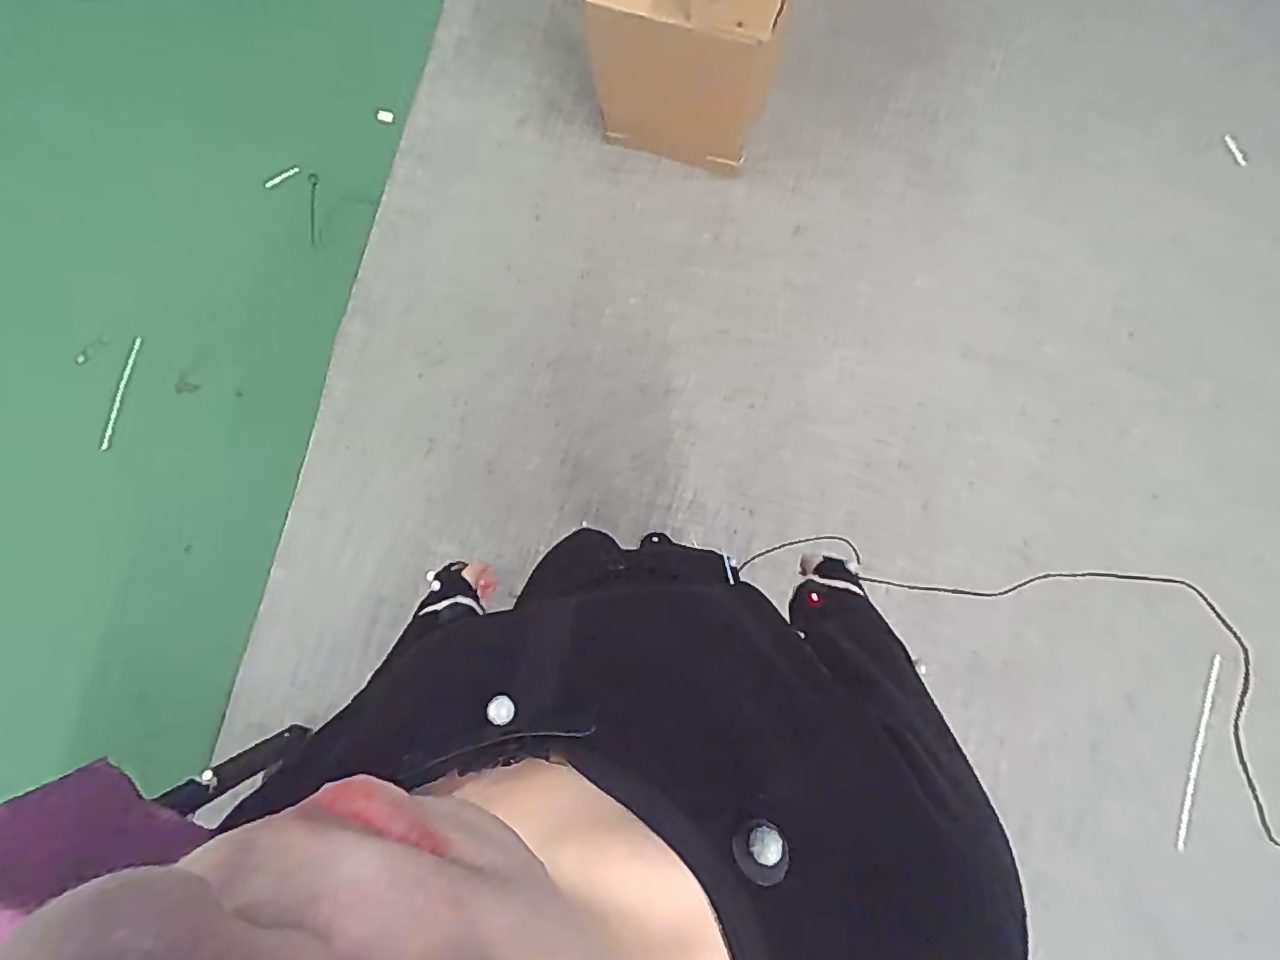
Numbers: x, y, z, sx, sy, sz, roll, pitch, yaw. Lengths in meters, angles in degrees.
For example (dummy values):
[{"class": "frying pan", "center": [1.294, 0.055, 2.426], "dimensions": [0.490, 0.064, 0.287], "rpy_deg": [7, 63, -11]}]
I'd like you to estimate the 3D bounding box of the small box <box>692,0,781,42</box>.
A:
[{"class": "small box", "center": [0.199, -0.992, 1.028], "dimensions": [0.168, 0.176, 0.179], "rpy_deg": [18, 88, 6]}]
